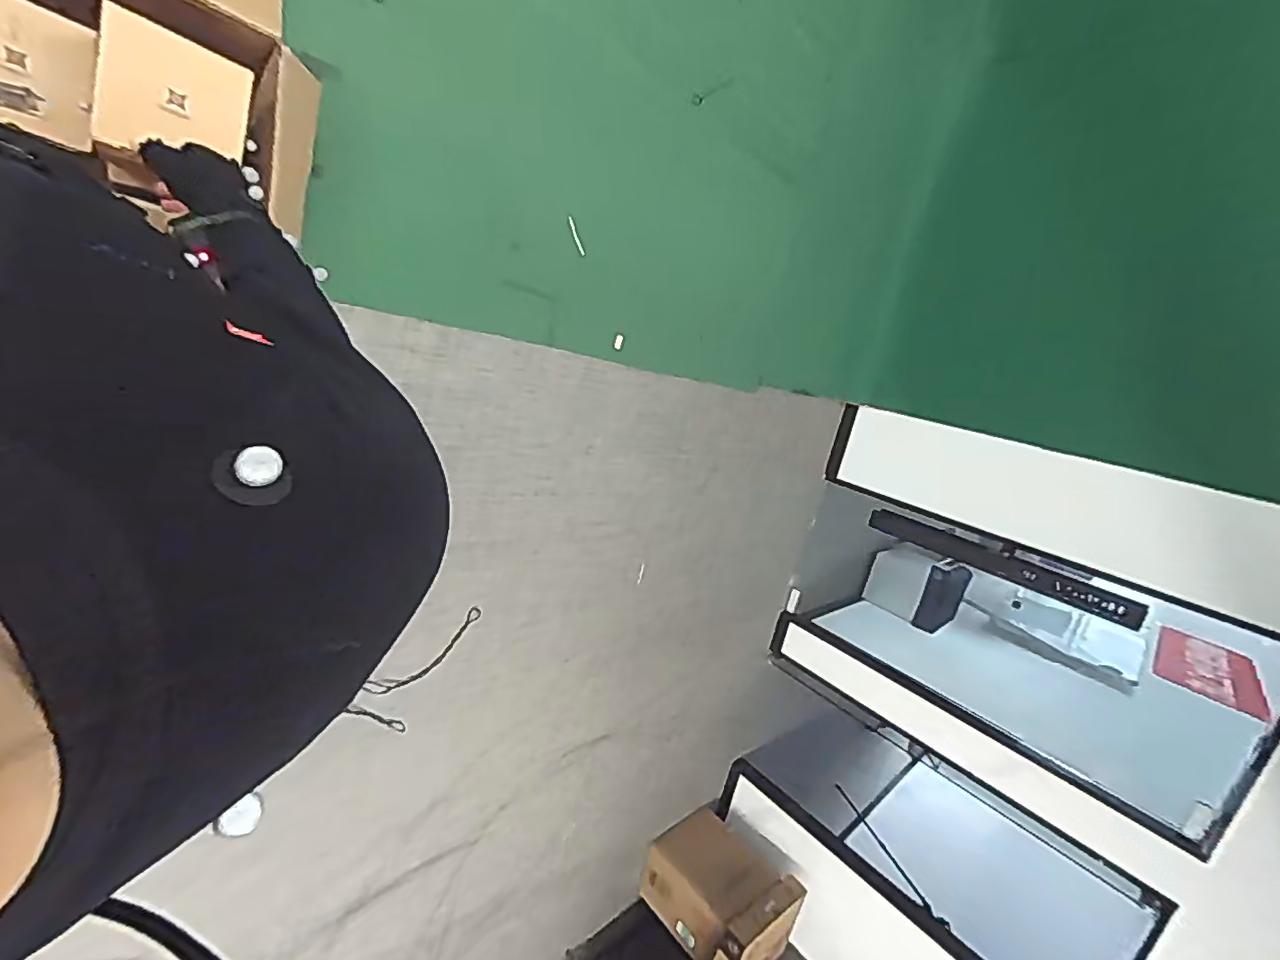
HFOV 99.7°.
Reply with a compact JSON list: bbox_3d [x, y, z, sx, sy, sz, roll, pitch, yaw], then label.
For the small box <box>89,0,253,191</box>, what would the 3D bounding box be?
[{"bbox_3d":[-0.717,-0.574,0.831,0.168,0.176,0.179,7,102,-43],"label":"small box"}]
